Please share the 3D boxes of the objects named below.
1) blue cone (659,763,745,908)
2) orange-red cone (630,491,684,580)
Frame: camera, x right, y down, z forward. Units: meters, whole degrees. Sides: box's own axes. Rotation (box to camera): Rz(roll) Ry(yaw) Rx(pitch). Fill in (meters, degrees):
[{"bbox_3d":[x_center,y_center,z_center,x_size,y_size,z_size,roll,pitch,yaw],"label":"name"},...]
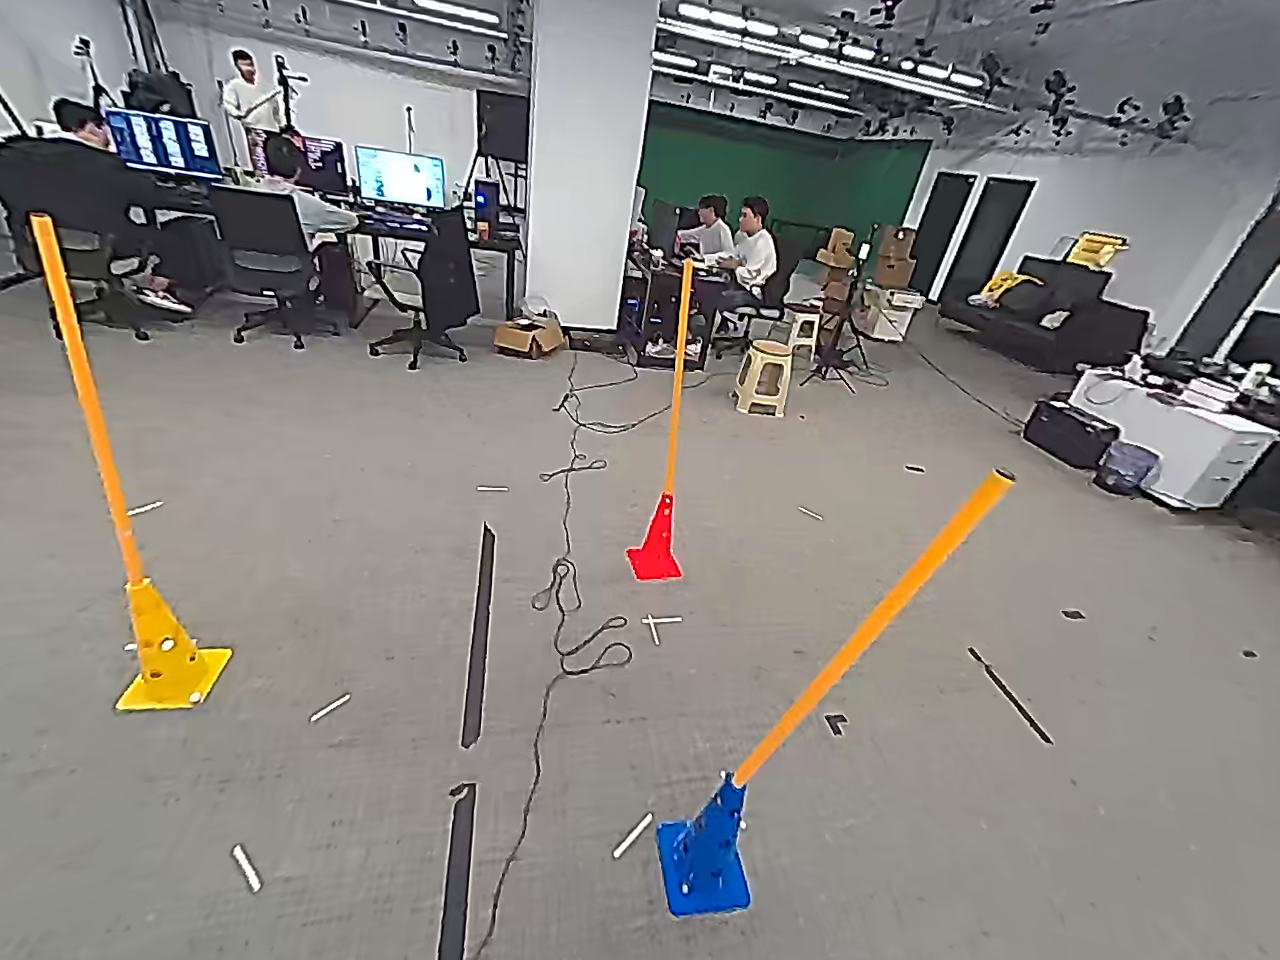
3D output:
[{"bbox_3d":[0.174,0.784,1.232,0.193,0.380,0.192,4,30,-11],"label":"blue cone"},{"bbox_3d":[0.091,0.202,2.175,0.199,0.360,0.198,-2,31,-17],"label":"orange-red cone"}]
